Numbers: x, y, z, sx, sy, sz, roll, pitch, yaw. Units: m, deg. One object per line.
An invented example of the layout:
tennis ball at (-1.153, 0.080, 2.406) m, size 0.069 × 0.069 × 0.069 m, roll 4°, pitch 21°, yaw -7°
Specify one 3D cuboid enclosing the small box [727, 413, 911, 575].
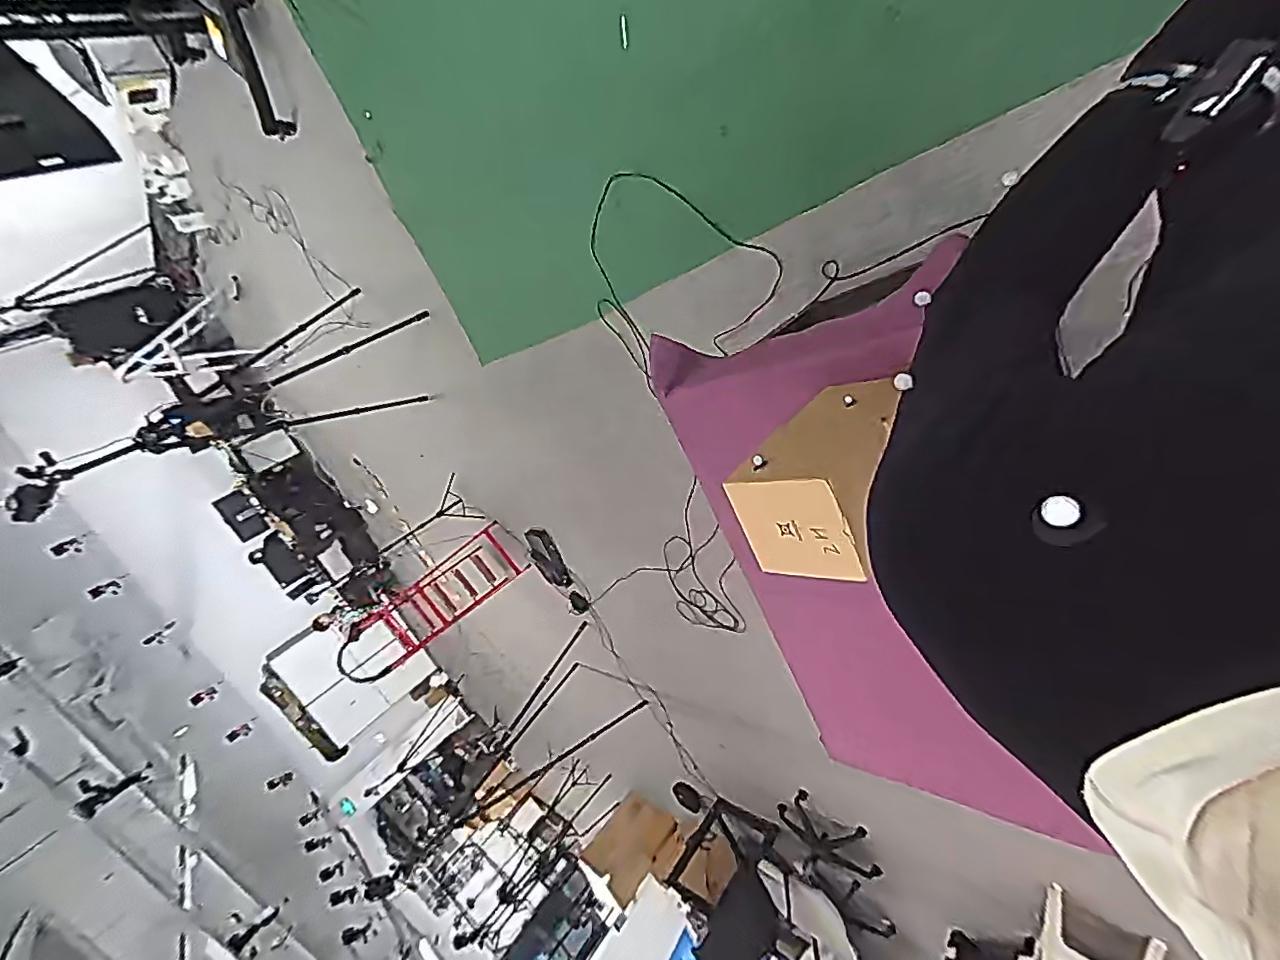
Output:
small box at (0.267, 0.017, 0.799) m, size 0.179 × 0.176 × 0.168 m, roll -3°, pitch 120°, yaw 50°
